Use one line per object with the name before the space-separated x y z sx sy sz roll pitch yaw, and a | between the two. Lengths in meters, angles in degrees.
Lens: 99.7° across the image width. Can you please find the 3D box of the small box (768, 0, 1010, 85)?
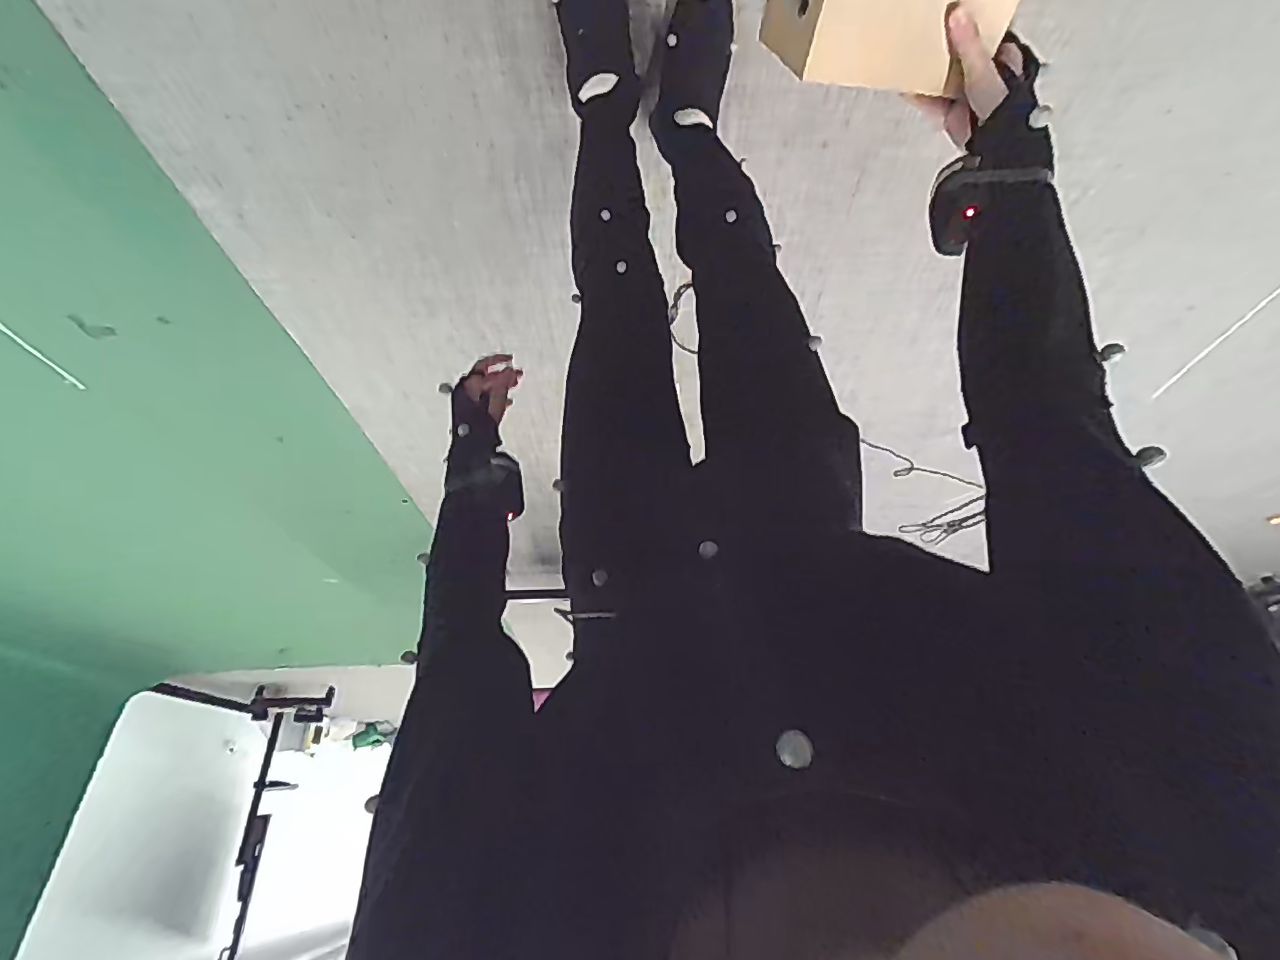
small box | 0.220 -0.473 0.462 0.168 0.176 0.179 1 138 -7
